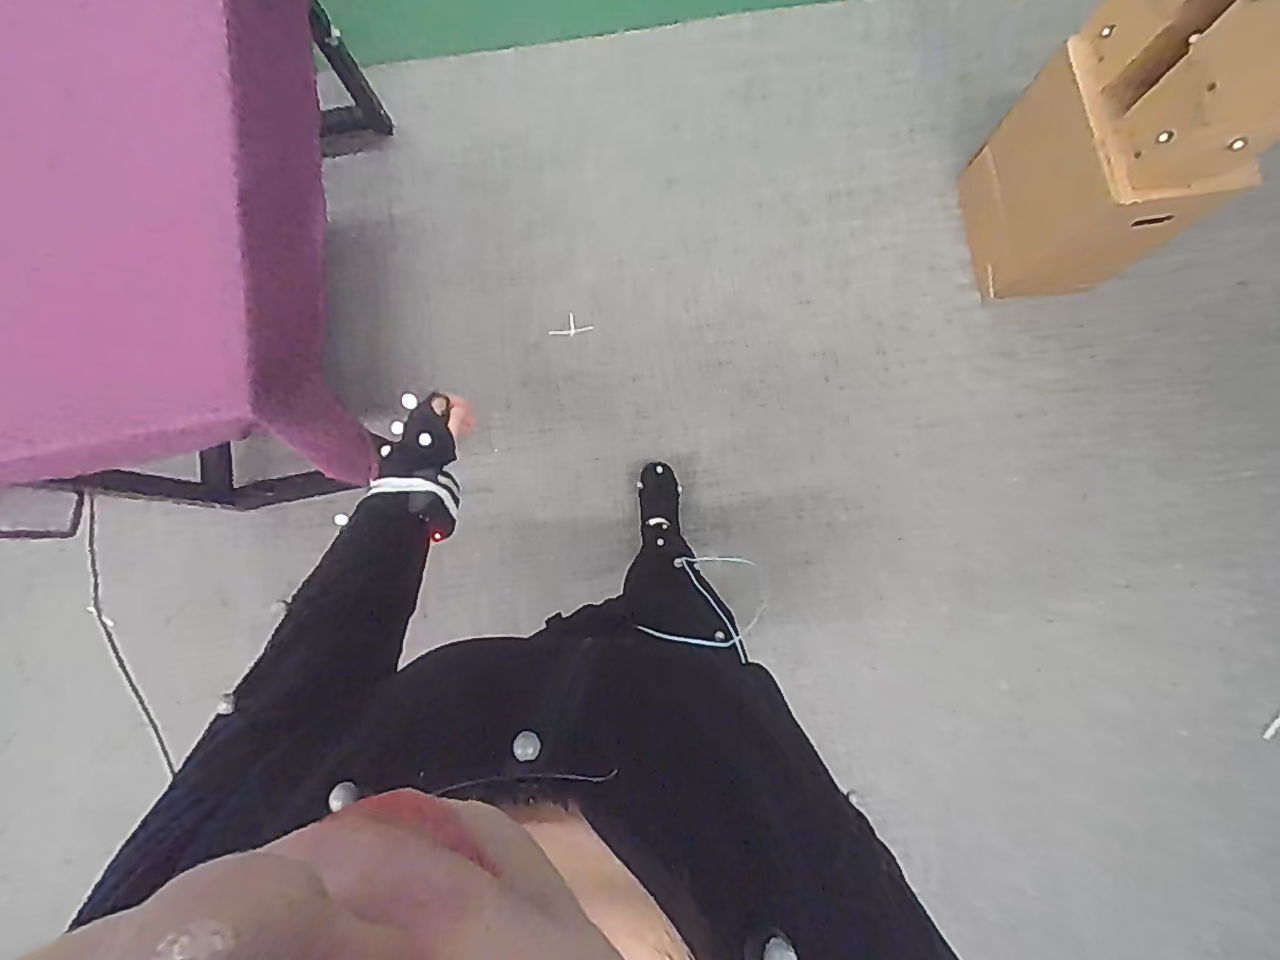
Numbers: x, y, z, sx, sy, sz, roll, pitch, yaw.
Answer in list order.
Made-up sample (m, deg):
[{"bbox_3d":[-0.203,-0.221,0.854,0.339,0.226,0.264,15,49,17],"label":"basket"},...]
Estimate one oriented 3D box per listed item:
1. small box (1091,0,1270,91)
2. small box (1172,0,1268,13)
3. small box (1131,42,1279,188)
[{"bbox_3d":[1.066,-0.926,1.081,0.179,0.176,0.168,-7,82,3],"label":"small box"},{"bbox_3d":[1.052,-0.947,0.919,0.179,0.176,0.168,-5,83,3],"label":"small box"},{"bbox_3d":[1.105,-0.694,1.045,0.179,0.176,0.168,-4,81,1],"label":"small box"}]
